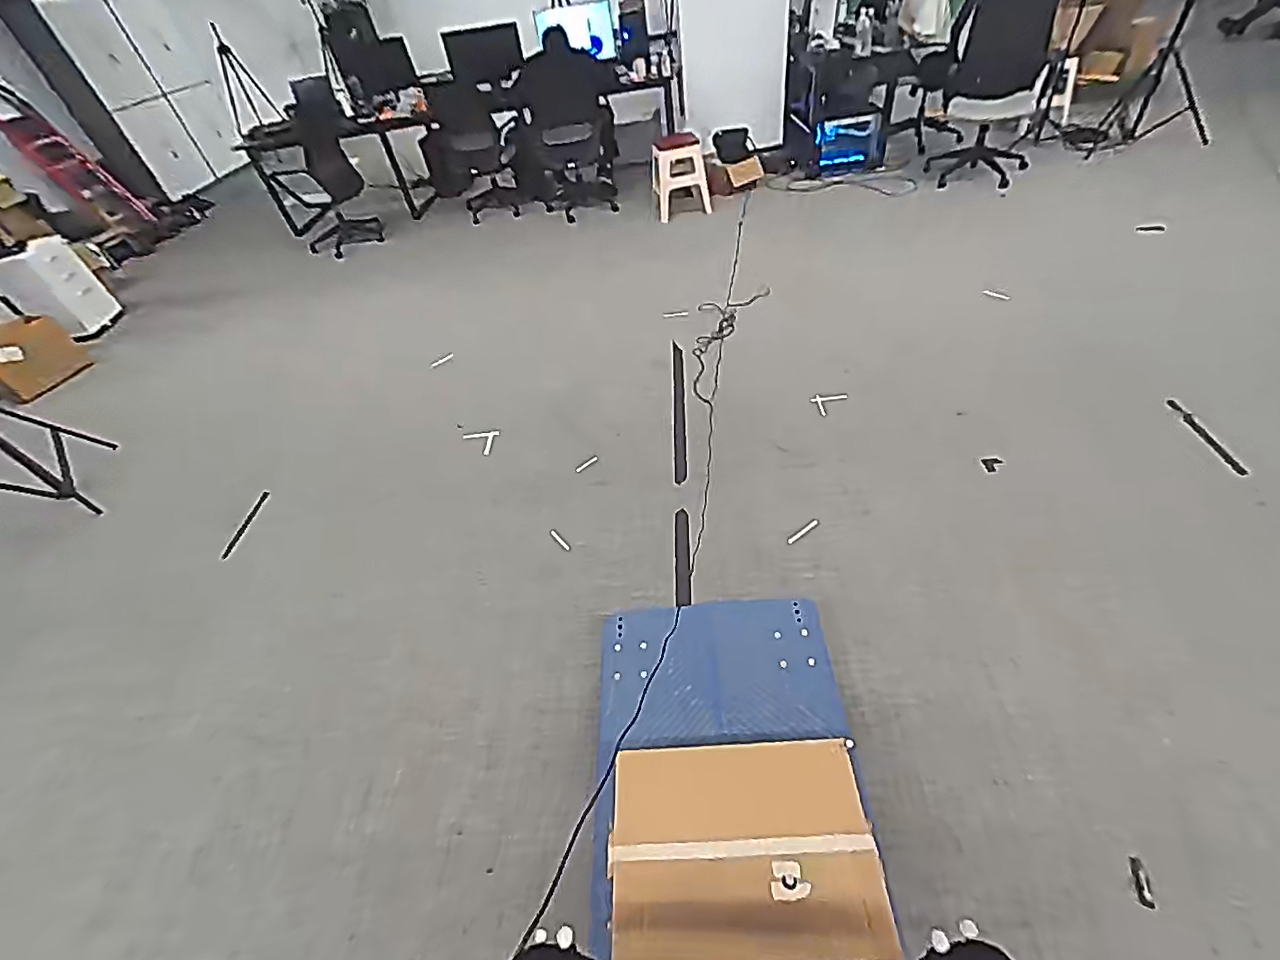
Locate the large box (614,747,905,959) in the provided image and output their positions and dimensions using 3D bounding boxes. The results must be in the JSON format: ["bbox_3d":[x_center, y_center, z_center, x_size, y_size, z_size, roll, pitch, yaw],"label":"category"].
[{"bbox_3d":[0.175,0.694,0.931,0.408,0.320,0.320,-6,44,4],"label":"large box"}]
